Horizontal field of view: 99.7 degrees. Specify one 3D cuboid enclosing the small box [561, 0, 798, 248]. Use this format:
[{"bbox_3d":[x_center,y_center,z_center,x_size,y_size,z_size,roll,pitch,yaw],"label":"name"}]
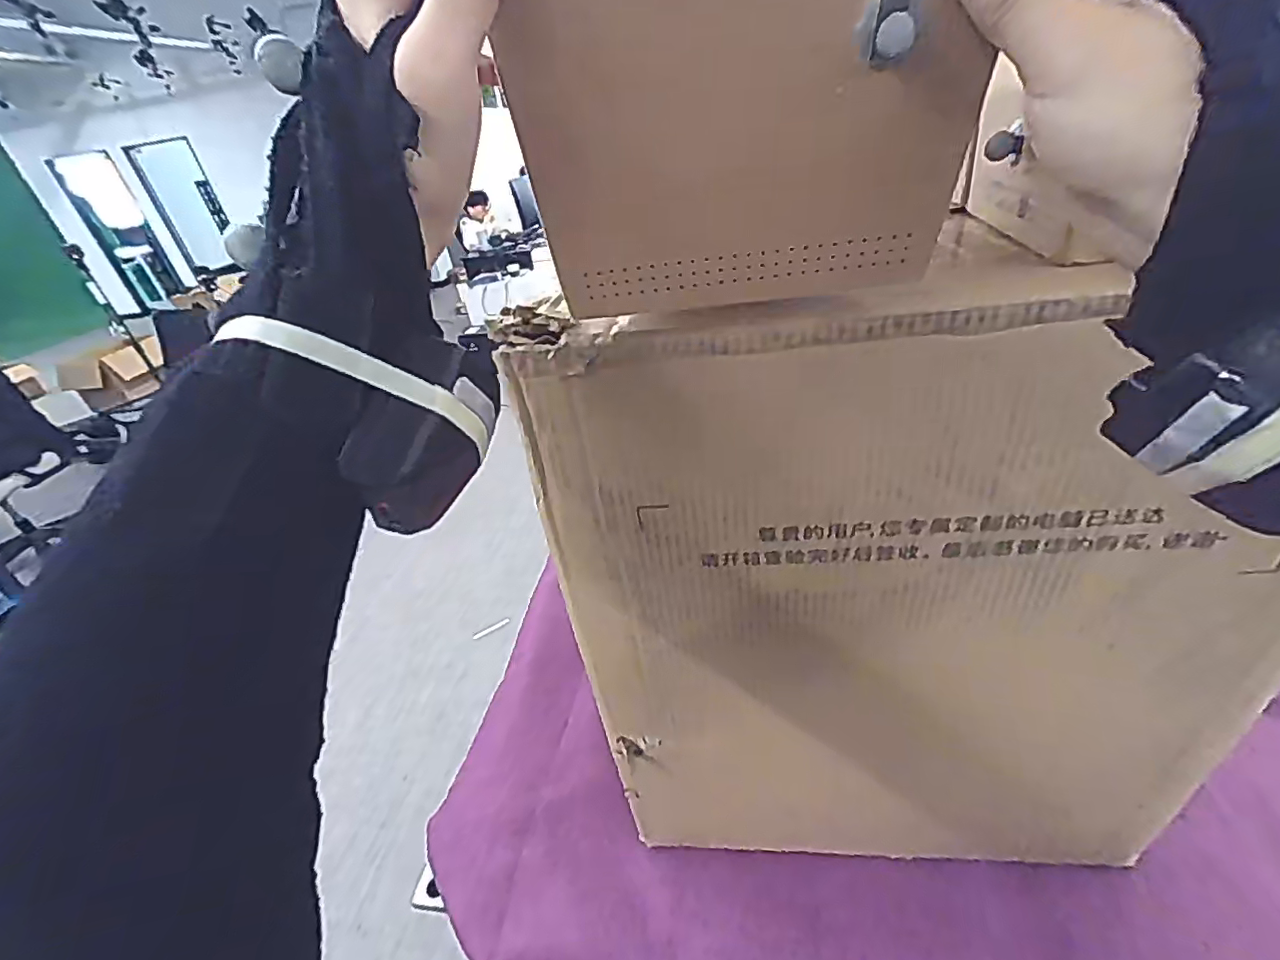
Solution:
[{"bbox_3d":[0.045,-0.306,0.470,0.168,0.176,0.179,-1,34,9],"label":"small box"}]
